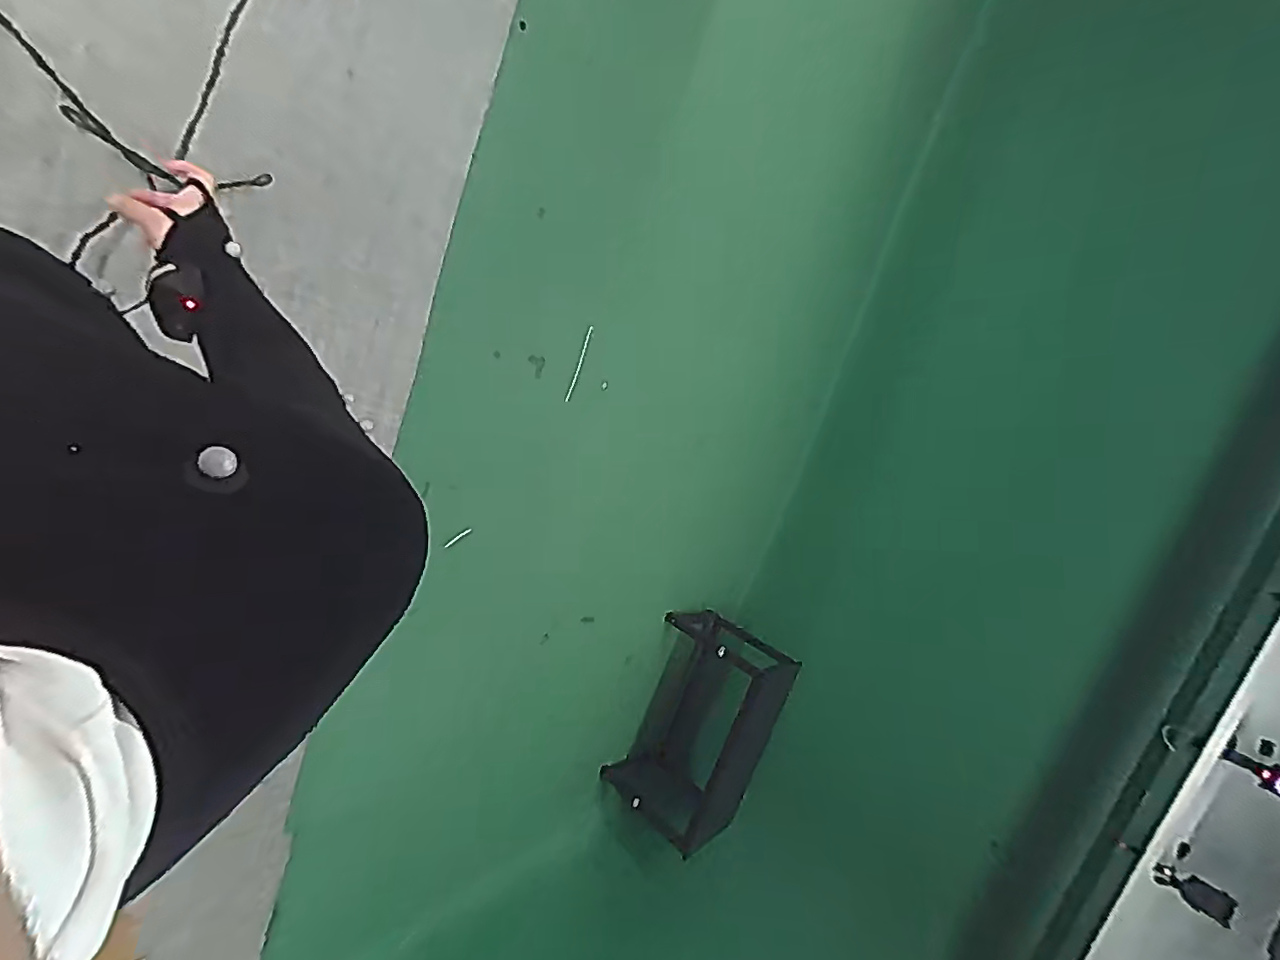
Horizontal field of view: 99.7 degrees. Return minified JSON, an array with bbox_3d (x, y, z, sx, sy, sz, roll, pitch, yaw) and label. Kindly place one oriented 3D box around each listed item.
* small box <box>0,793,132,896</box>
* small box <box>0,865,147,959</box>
[{"bbox_3d":[-0.956,0.647,0.860,0.168,0.176,0.179,19,96,-53],"label":"small box"},{"bbox_3d":[-0.840,0.704,0.762,0.168,0.176,0.179,18,97,-54],"label":"small box"}]
